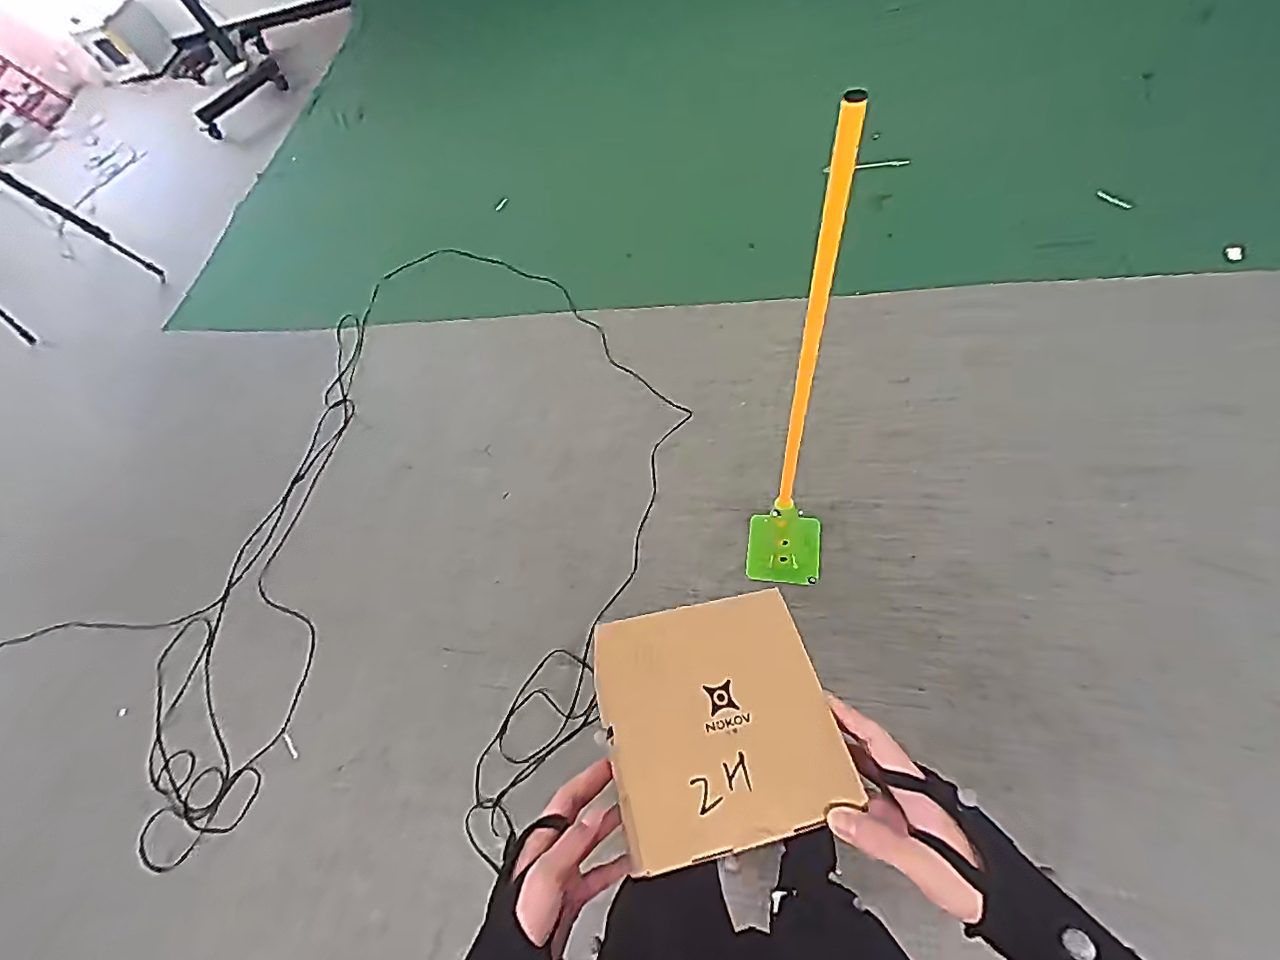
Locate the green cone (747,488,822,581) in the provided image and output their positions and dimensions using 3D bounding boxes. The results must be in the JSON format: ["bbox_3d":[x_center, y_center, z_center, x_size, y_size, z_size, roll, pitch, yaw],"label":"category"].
[{"bbox_3d":[0.370,0.109,1.393,0.202,0.368,0.200,2,65,17],"label":"green cone"}]
